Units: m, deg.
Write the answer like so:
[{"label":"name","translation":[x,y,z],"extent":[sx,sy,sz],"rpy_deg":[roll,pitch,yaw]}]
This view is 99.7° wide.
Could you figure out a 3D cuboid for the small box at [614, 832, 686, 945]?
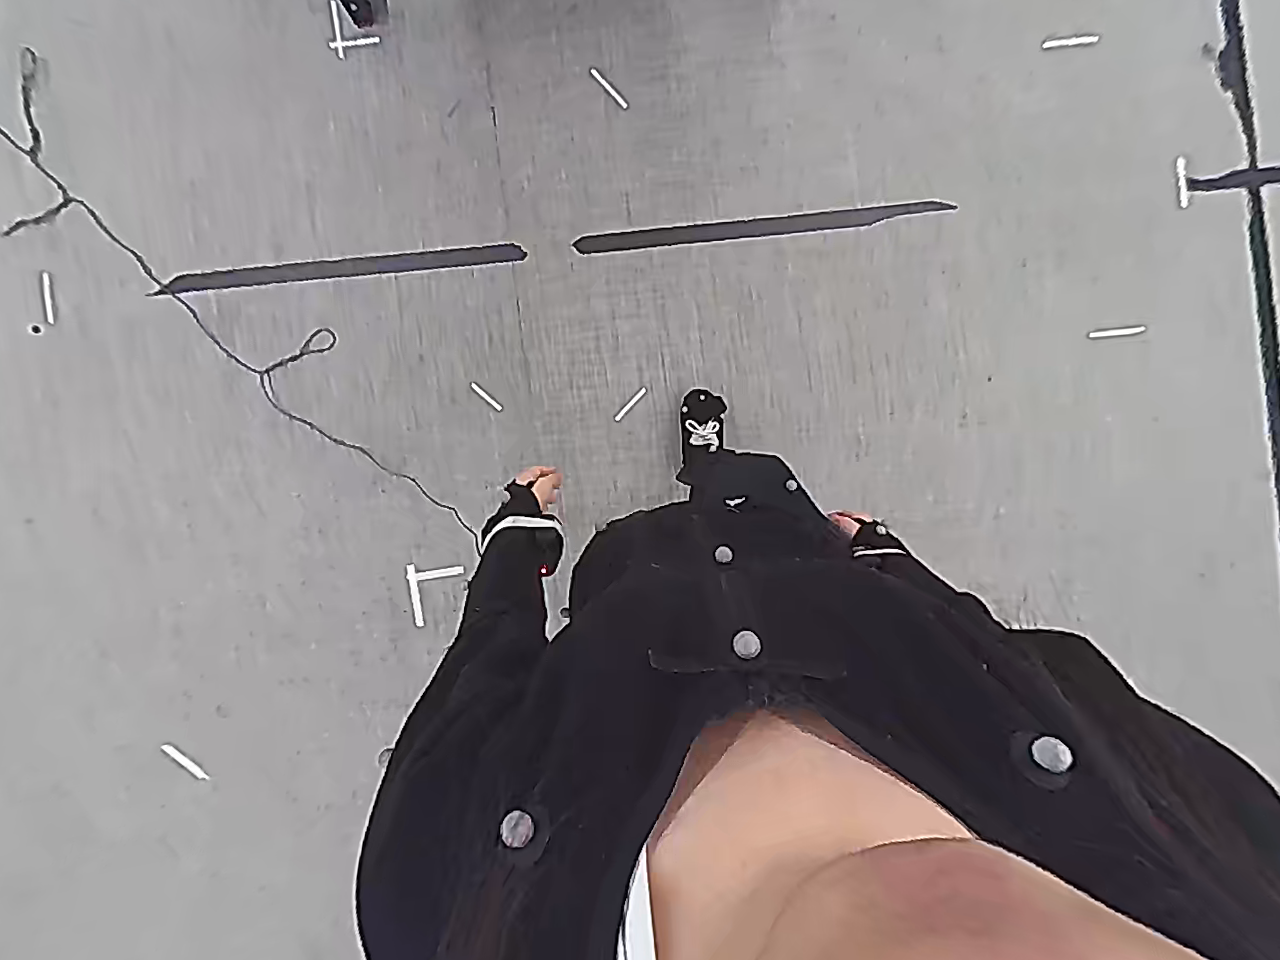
[{"label":"small box","translation":[0.024,1.073,1.439],"extent":[0.168,0.176,0.179],"rpy_deg":[-9,91,0]}]
